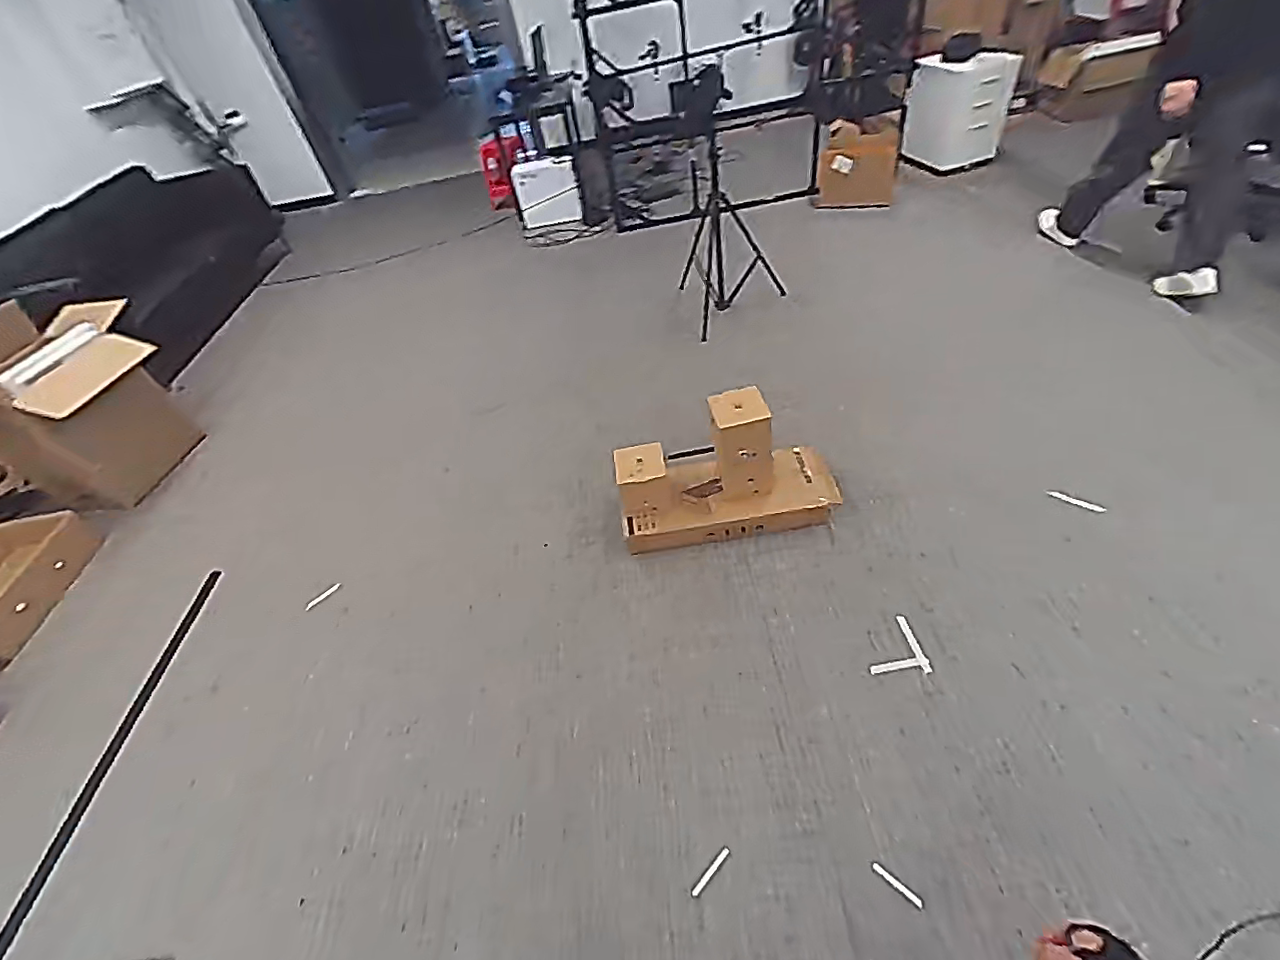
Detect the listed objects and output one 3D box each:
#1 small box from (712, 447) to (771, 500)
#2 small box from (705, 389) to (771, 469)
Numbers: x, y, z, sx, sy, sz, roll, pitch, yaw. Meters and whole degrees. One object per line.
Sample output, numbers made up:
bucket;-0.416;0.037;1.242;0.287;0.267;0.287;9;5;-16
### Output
small box;0.349;-0.049;1.858;0.168;0.176;0.179;-12;45;1
small box;0.314;-0.163;1.745;0.168;0.176;0.179;-14;45;0
